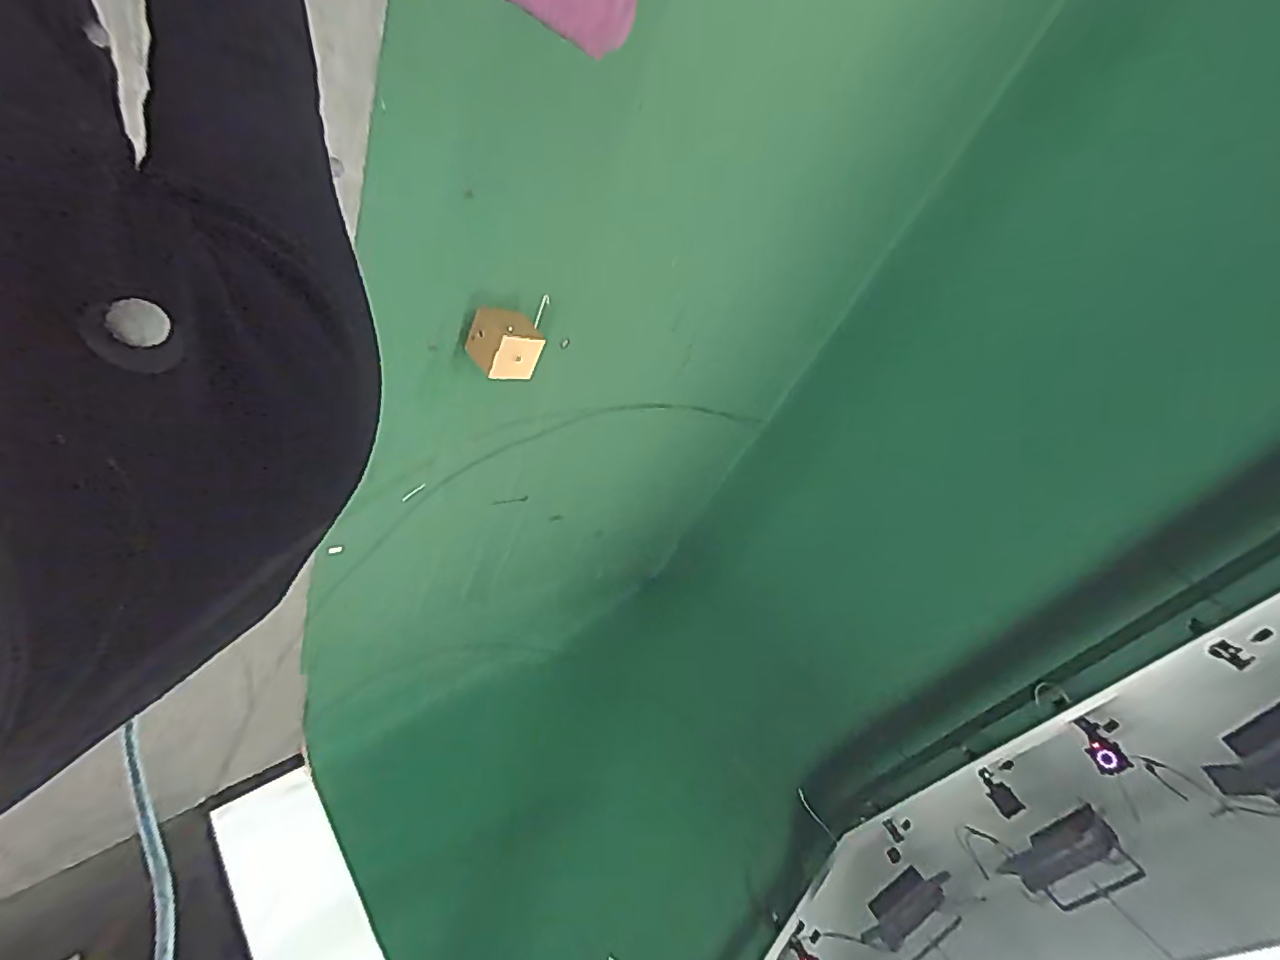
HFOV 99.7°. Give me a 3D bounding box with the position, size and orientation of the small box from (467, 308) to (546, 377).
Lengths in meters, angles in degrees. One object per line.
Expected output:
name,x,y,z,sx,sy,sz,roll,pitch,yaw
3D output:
small box,-0.459,-0.471,1.853,0.179,0.176,0.168,-11,141,-48
